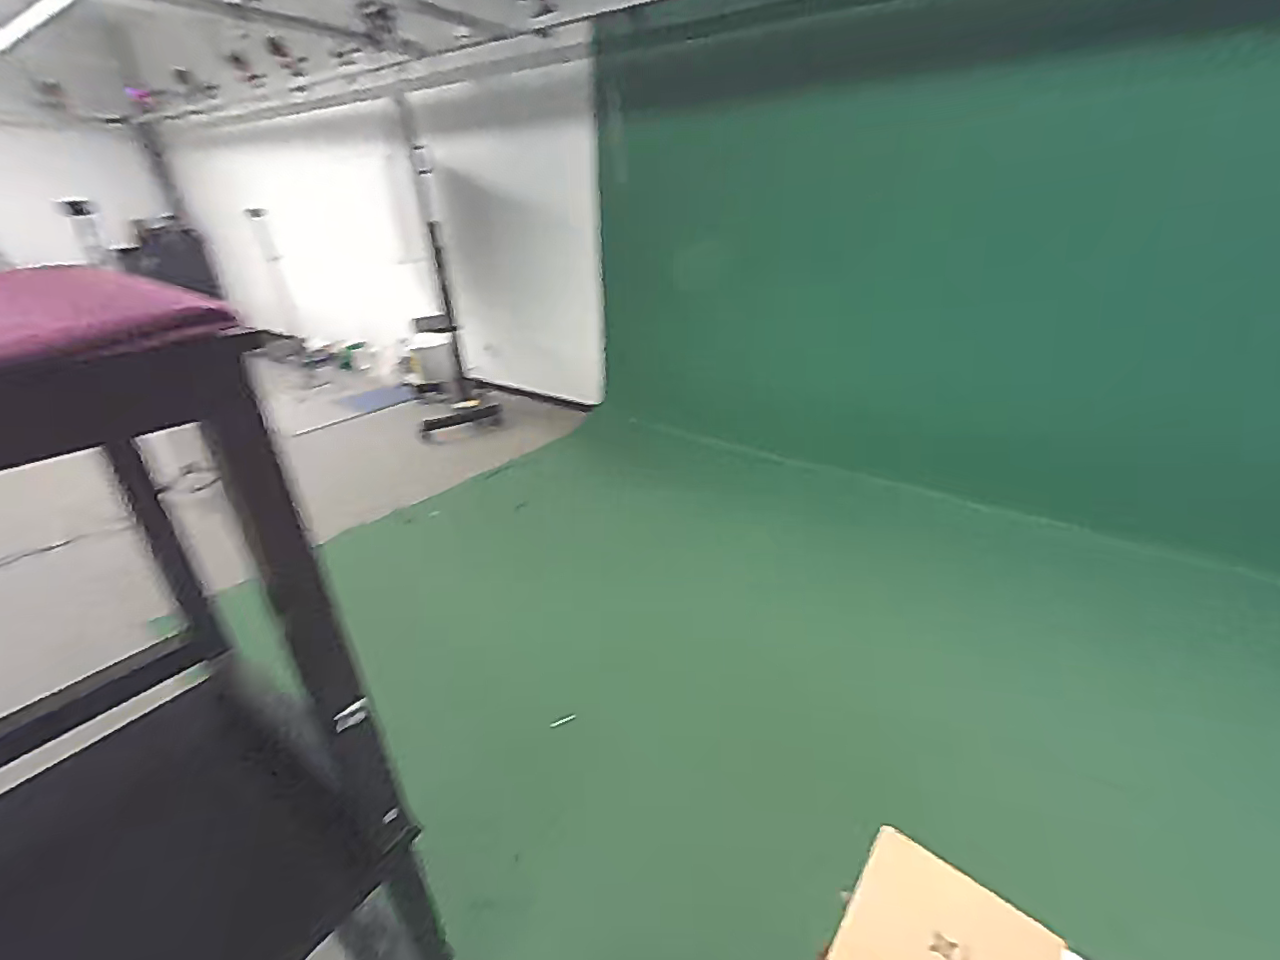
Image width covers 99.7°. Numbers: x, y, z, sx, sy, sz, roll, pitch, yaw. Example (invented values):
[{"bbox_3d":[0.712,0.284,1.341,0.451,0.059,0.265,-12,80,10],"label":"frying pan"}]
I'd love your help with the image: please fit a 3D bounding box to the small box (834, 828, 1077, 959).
[{"bbox_3d":[0.295,0.514,0.541,0.179,0.176,0.168,22,34,34],"label":"small box"}]
